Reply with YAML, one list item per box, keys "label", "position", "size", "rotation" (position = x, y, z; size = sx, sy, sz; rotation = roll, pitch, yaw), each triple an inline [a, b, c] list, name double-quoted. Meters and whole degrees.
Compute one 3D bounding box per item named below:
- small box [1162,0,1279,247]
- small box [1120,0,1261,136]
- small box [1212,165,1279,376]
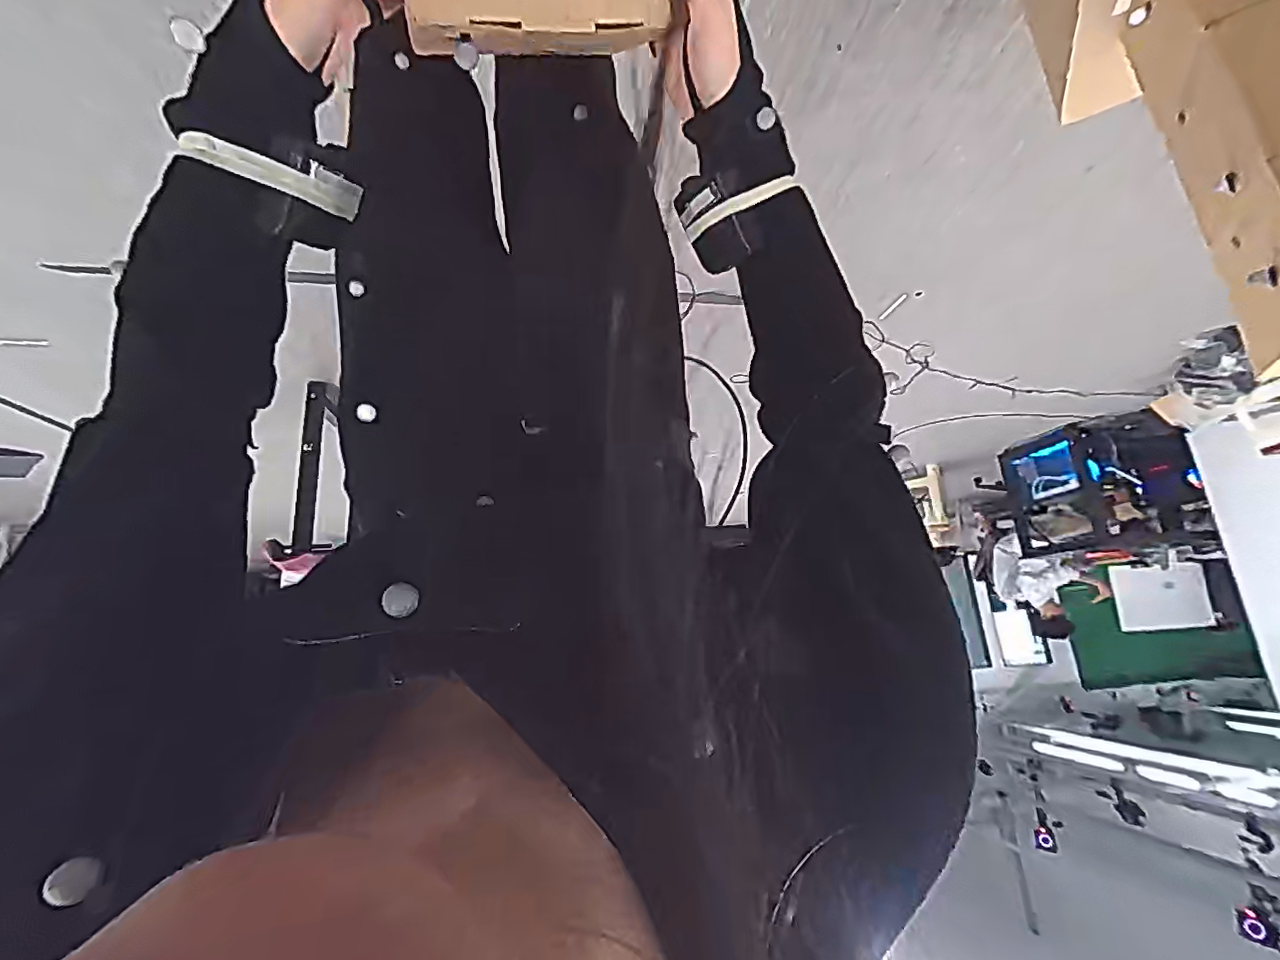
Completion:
- label: "small box"
  position: [0.689, -0.383, 0.546]
  size: [0.179, 0.176, 0.168]
  rotation: [-14, 162, 29]
- label: "small box"
  position: [0.675, -0.540, 0.591]
  size: [0.179, 0.176, 0.168]
  rotation: [-12, 162, 30]
- label: "small box"
  position: [0.699, -0.225, 0.507]
  size: [0.179, 0.176, 0.168]
  rotation: [-13, 162, 30]
